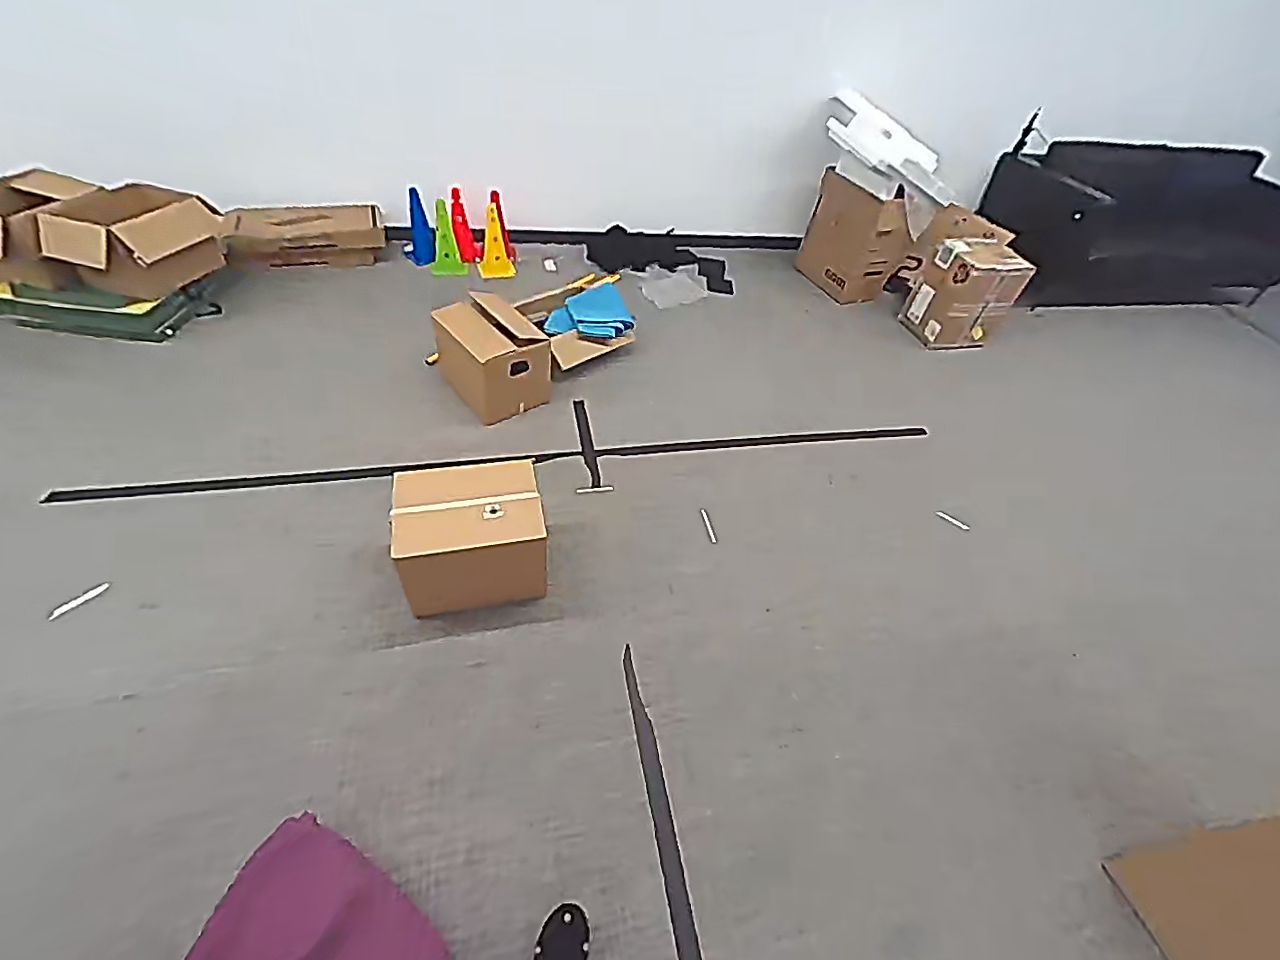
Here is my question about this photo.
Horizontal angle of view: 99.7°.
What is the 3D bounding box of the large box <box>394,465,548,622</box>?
[{"bbox_3d":[-0.507,0.189,1.640,0.408,0.320,0.320,-7,48,-17],"label":"large box"}]
